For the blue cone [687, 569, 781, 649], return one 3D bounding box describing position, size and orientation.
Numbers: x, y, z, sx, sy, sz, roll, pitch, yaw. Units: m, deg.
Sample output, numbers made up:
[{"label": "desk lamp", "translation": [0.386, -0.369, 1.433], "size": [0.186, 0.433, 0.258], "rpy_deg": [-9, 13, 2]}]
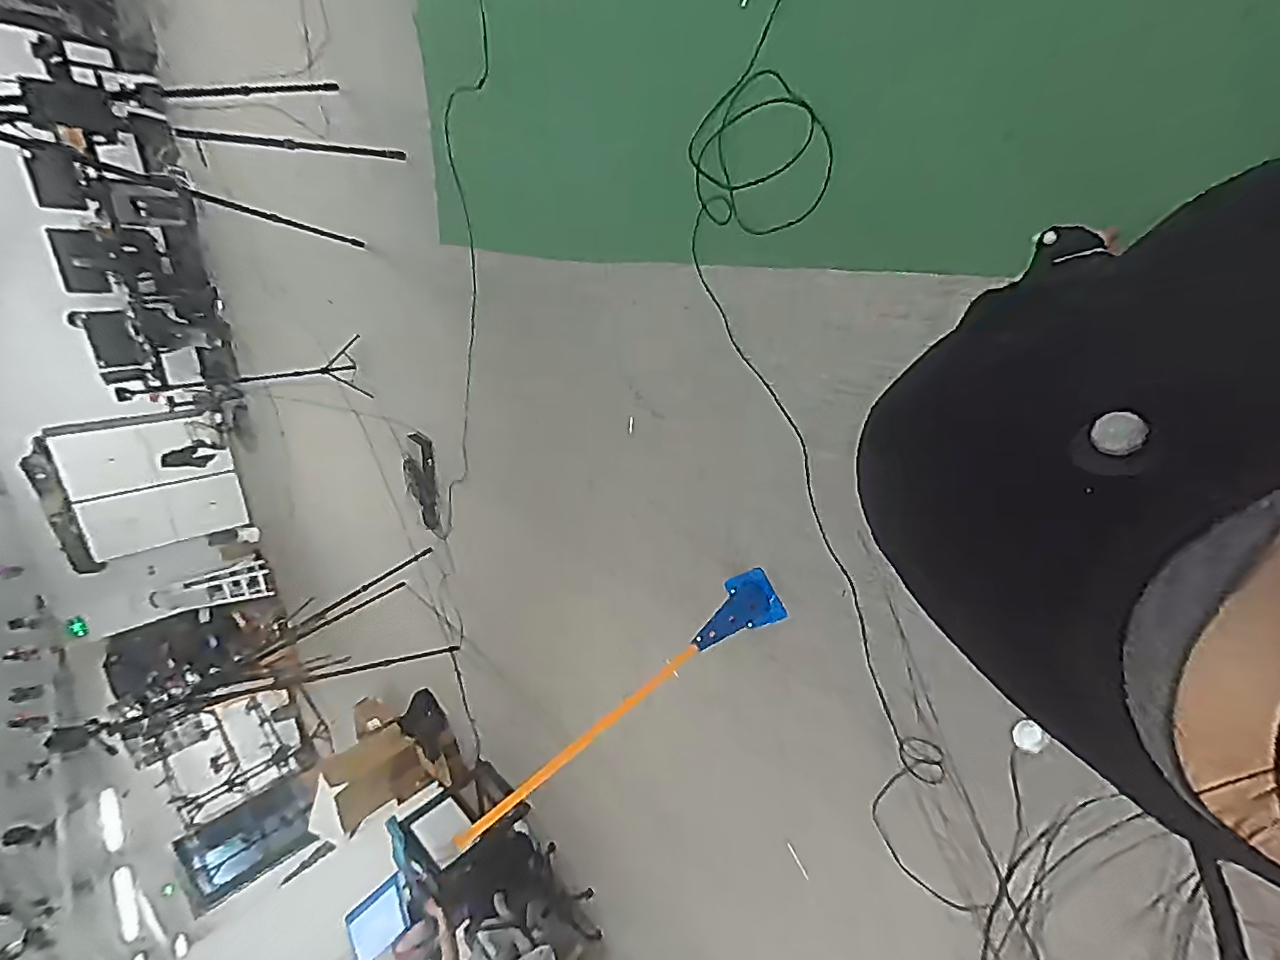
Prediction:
[{"label": "blue cone", "translation": [0.298, 0.479, 1.858], "size": [0.193, 0.380, 0.192], "rpy_deg": [-39, 78, 48]}]
